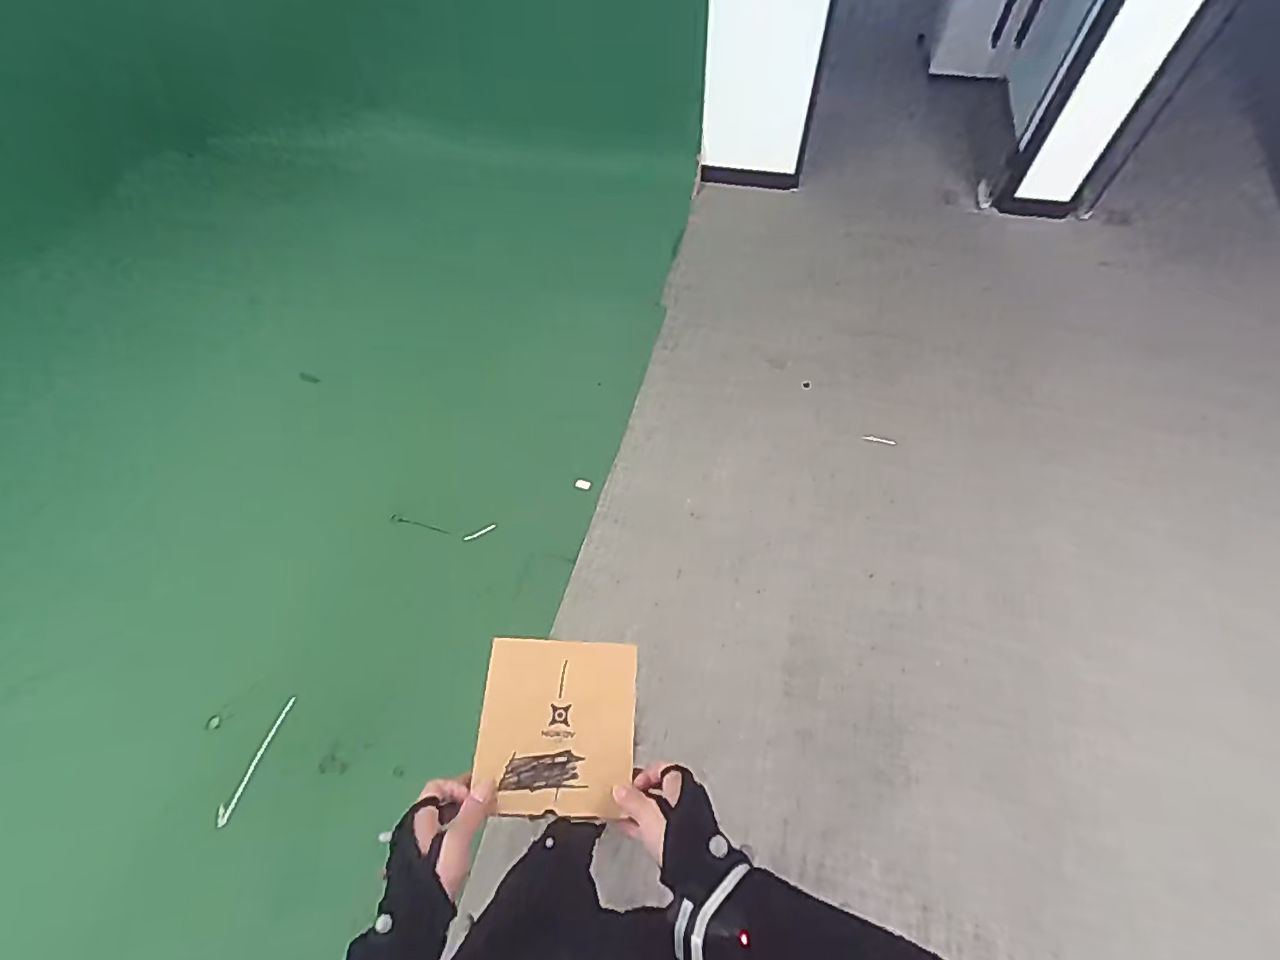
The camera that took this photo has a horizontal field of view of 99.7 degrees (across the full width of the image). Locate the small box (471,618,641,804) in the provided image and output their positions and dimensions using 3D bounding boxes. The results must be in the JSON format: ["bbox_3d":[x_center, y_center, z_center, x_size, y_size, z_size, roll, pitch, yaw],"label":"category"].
[{"bbox_3d":[-0.090,0.278,0.658,0.168,0.176,0.179,5,64,-2],"label":"small box"}]
